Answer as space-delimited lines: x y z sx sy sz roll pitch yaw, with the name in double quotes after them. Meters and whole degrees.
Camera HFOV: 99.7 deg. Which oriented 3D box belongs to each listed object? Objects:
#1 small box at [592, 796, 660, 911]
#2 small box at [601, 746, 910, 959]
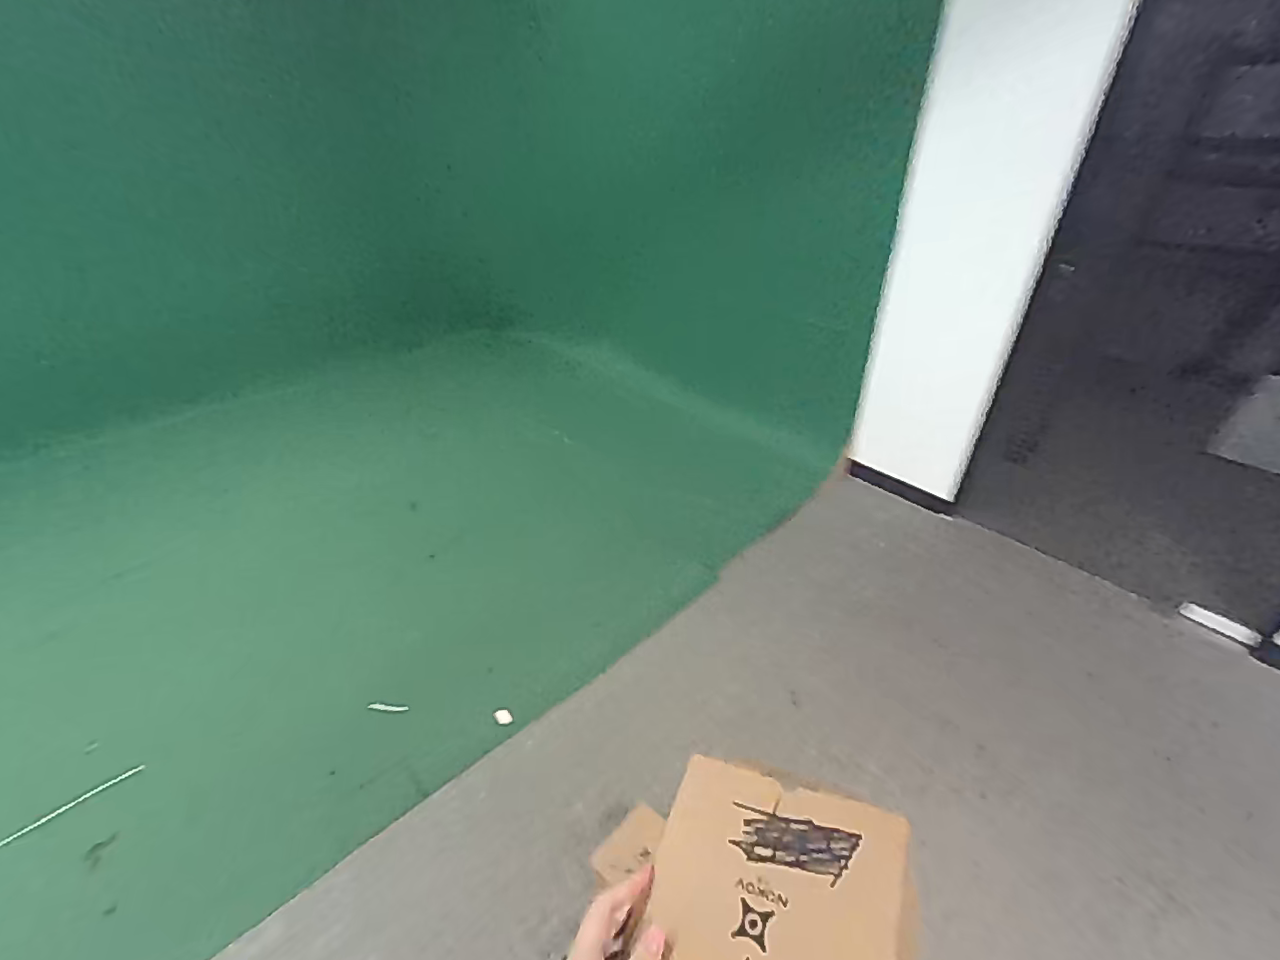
0.010 0.881 1.233 0.179 0.176 0.168 -31 45 -33 "small box"
0.097 0.338 0.393 0.168 0.176 0.179 0 37 32 "small box"
